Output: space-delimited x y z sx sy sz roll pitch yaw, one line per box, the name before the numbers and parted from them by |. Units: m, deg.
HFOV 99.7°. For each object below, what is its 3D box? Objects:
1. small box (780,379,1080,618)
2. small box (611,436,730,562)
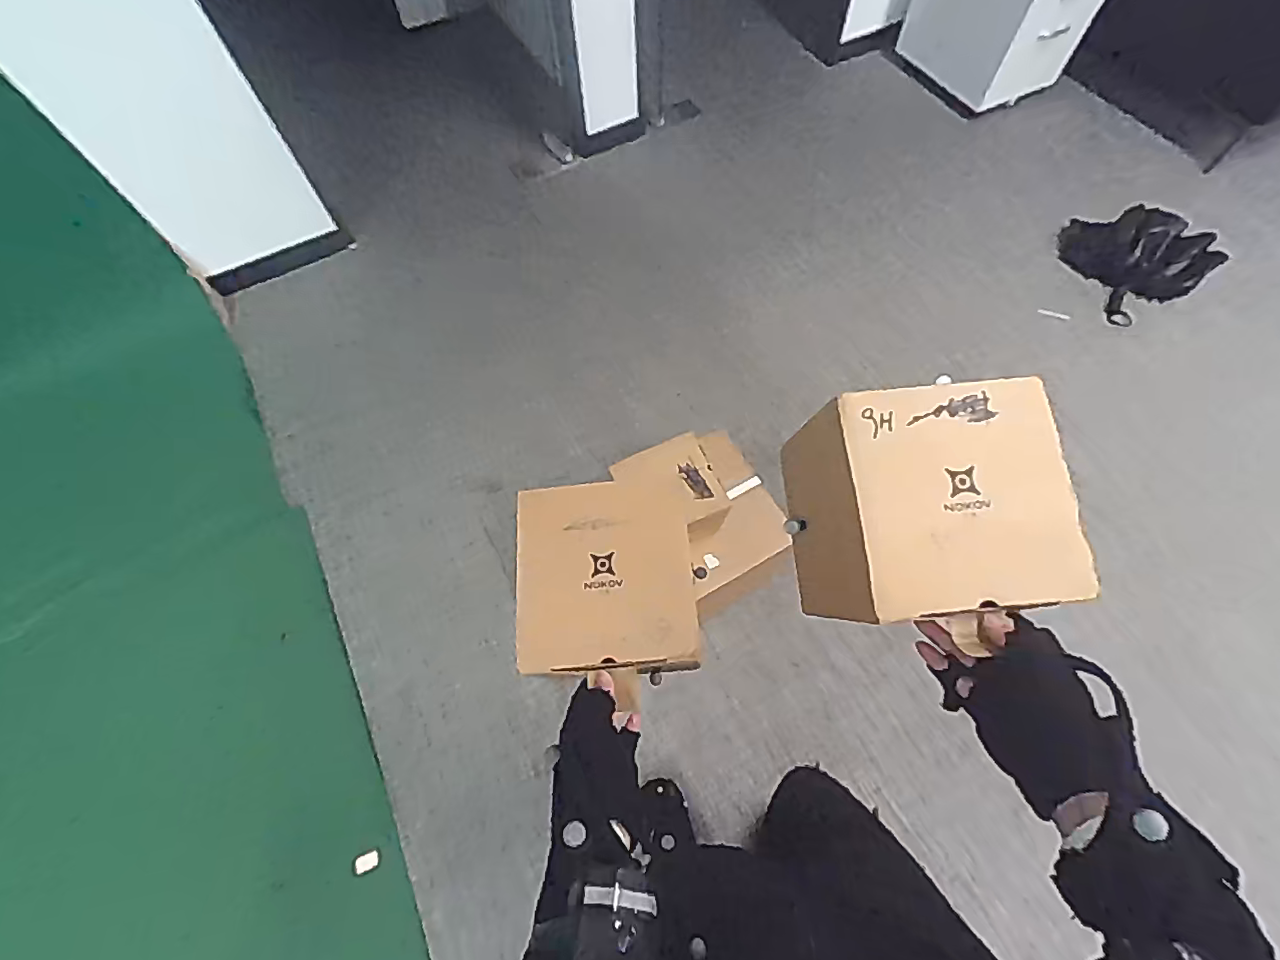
small box | 0.239 0.025 0.494 0.168 0.176 0.179 -5 79 -3
small box | 0.051 0.043 1.059 0.179 0.176 0.168 -21 69 -9
